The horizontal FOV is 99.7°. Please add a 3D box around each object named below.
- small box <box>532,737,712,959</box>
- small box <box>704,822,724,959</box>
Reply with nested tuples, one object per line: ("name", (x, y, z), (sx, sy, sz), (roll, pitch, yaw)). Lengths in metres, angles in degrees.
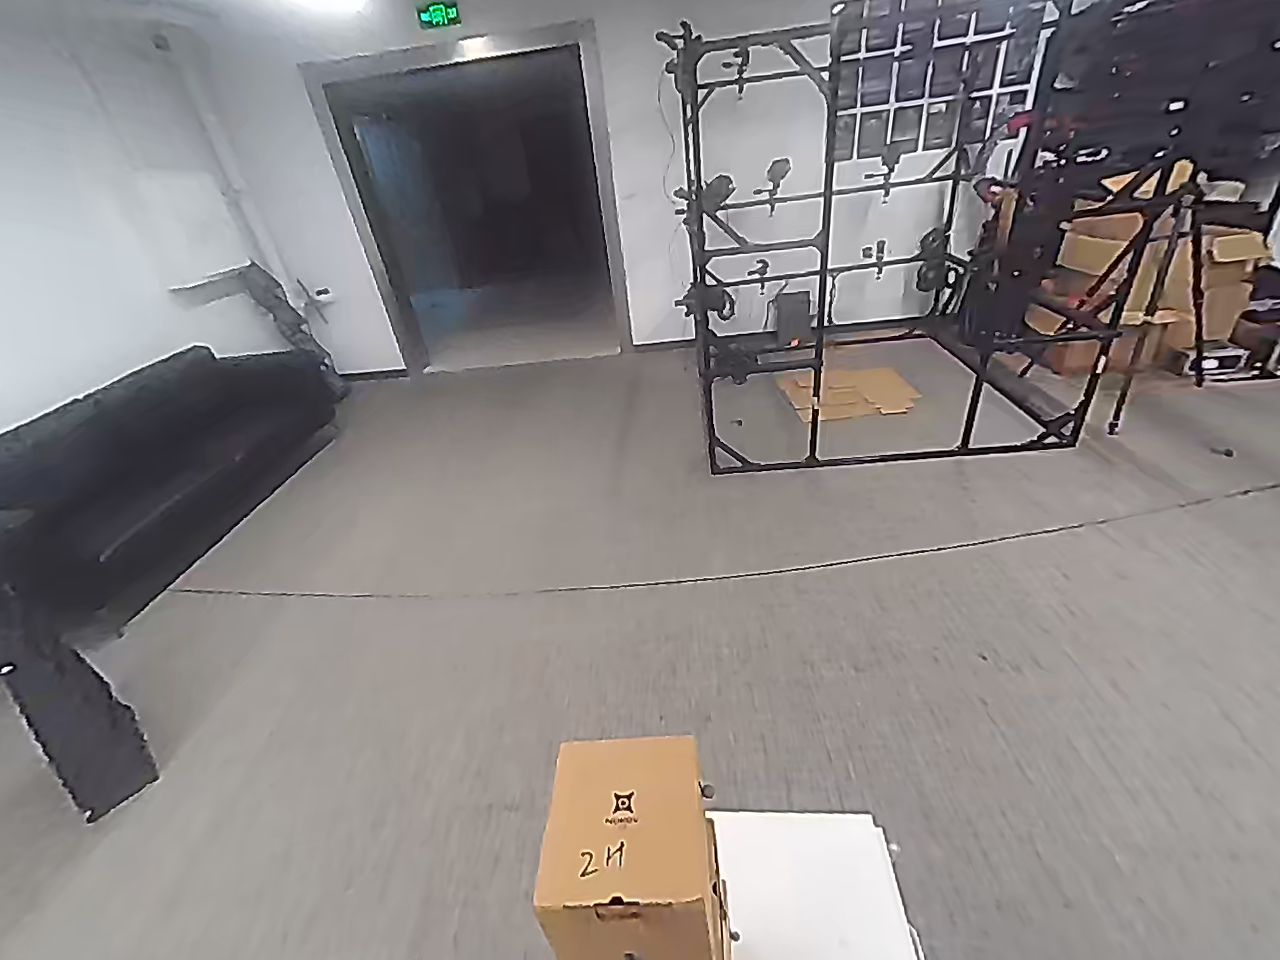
("small box", (-0.009, 0.425, 0.616), (0.168, 0.176, 0.179), (-6, 29, 6))
("small box", (0.017, 0.569, 0.692), (0.179, 0.176, 0.168), (-6, 29, 6))
